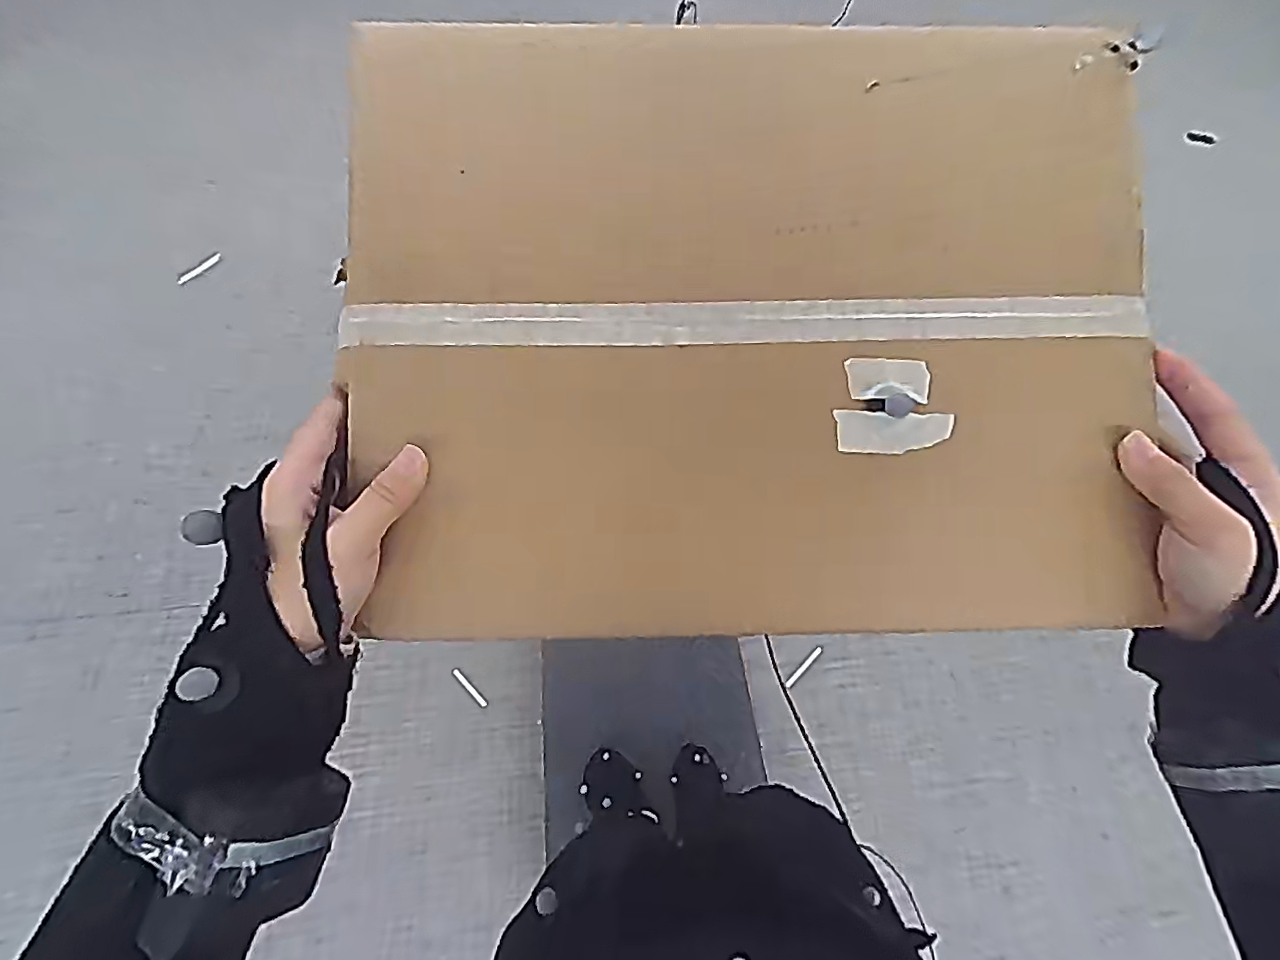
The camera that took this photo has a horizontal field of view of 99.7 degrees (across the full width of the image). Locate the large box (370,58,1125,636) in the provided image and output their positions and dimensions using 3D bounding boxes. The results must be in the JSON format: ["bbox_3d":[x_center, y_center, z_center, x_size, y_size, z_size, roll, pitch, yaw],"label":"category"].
[{"bbox_3d":[0.051,-0.071,0.437,0.408,0.320,0.320,-1,88,-2],"label":"large box"}]
